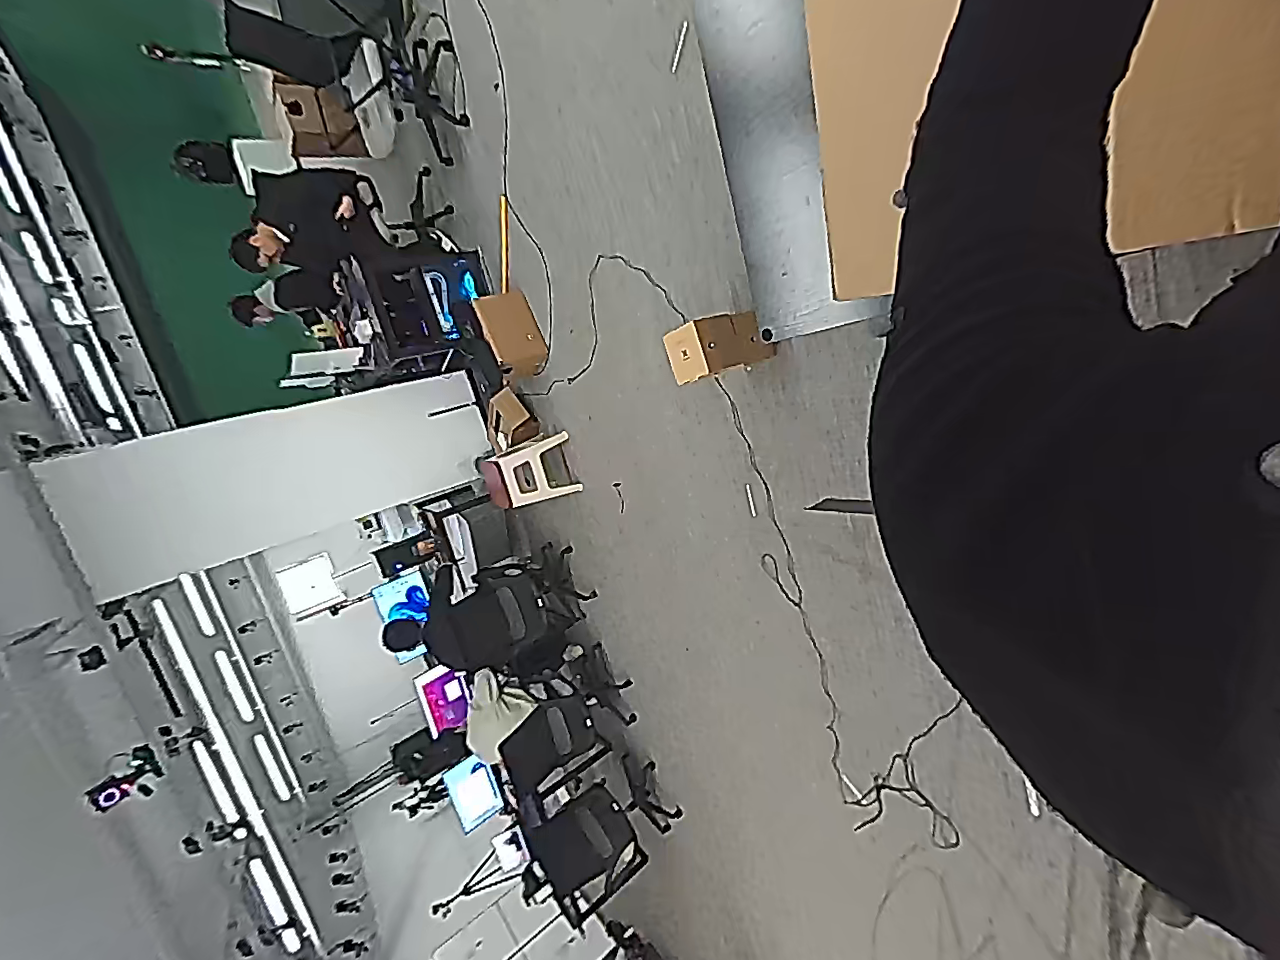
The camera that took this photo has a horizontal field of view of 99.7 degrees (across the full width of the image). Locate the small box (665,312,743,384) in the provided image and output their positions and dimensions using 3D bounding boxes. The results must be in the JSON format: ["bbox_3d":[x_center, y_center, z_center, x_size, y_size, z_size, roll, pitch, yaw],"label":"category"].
[{"bbox_3d":[0.216,-0.439,1.798,0.168,0.176,0.179,-10,99,56],"label":"small box"}]

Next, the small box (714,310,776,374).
[{"bbox_3d":[0.345,-0.485,1.886,0.168,0.176,0.179,-5,105,56],"label":"small box"}]
